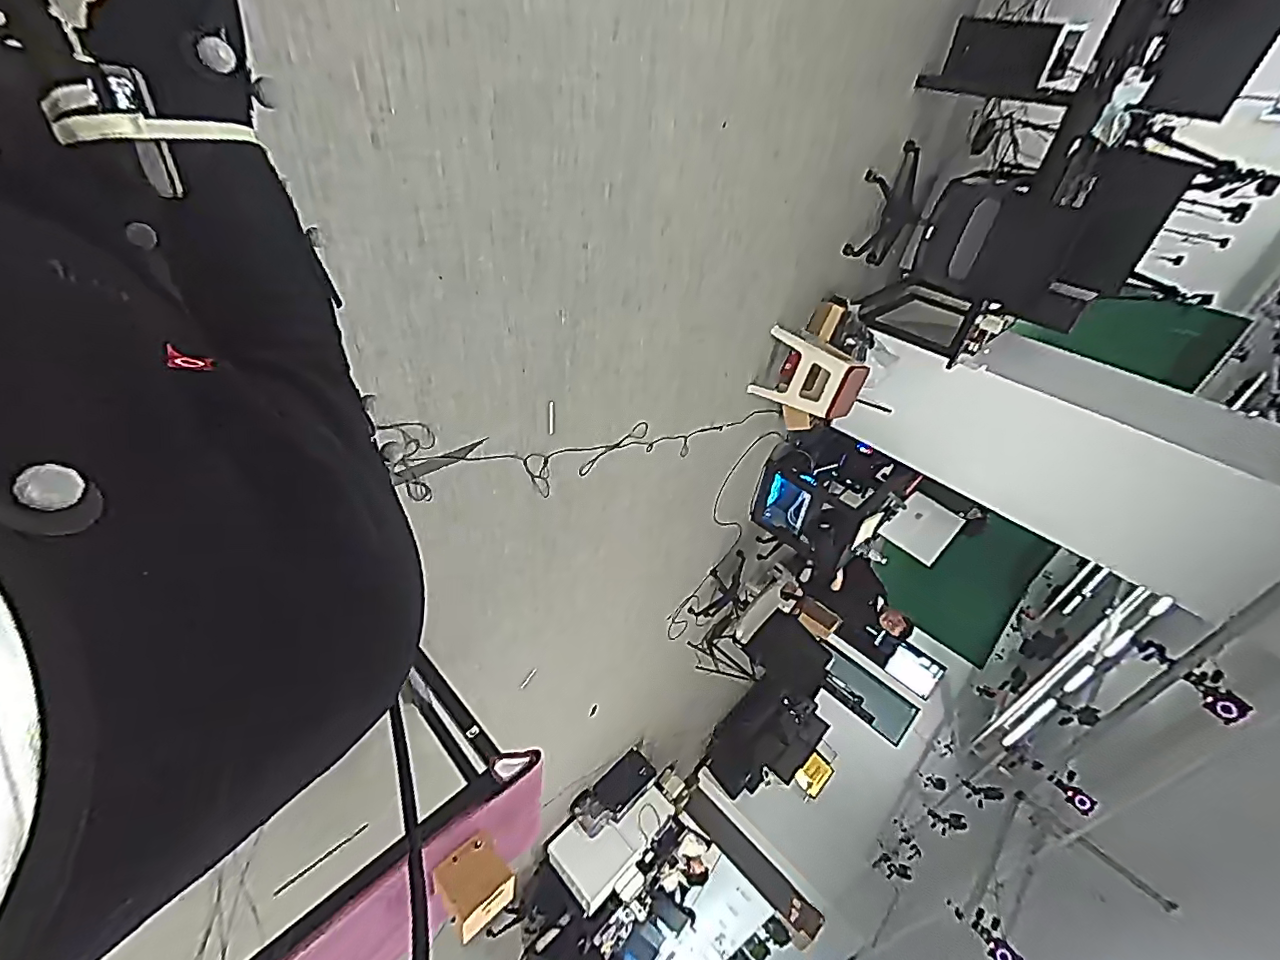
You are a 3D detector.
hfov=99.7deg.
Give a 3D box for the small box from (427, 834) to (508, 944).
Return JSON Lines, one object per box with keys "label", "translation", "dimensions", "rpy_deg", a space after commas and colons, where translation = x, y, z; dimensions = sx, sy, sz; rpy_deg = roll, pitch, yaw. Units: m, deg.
{"label": "small box", "translation": [-0.505, 1.180, 1.576], "dimensions": [0.168, 0.176, 0.179], "rpy_deg": [-23, 138, -41]}
